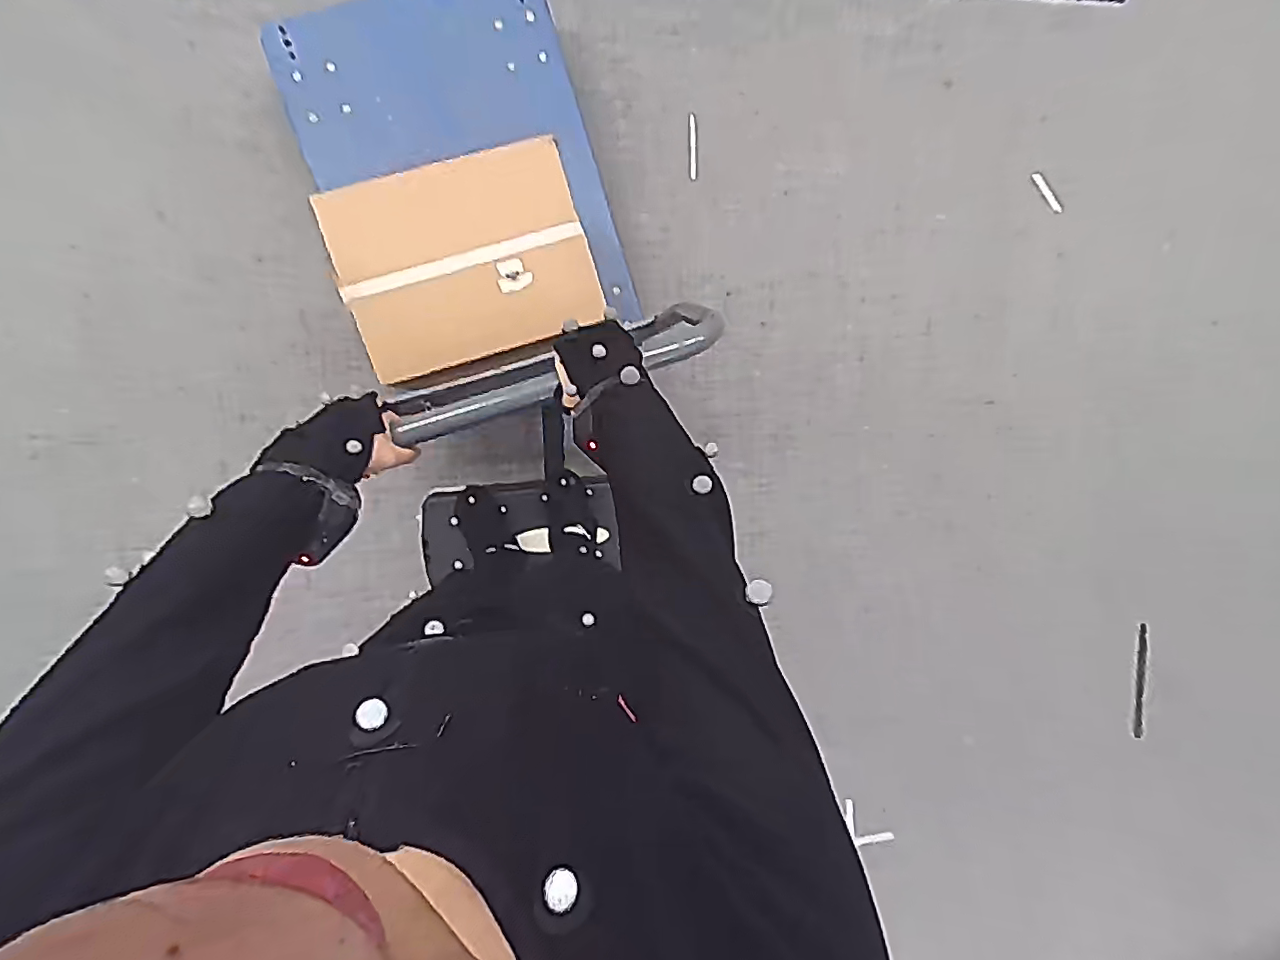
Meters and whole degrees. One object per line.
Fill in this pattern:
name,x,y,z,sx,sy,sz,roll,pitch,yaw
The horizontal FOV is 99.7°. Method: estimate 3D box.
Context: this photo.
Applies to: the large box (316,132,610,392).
large box,-0.307,-0.383,1.041,0.408,0.320,0.320,-19,99,-7
